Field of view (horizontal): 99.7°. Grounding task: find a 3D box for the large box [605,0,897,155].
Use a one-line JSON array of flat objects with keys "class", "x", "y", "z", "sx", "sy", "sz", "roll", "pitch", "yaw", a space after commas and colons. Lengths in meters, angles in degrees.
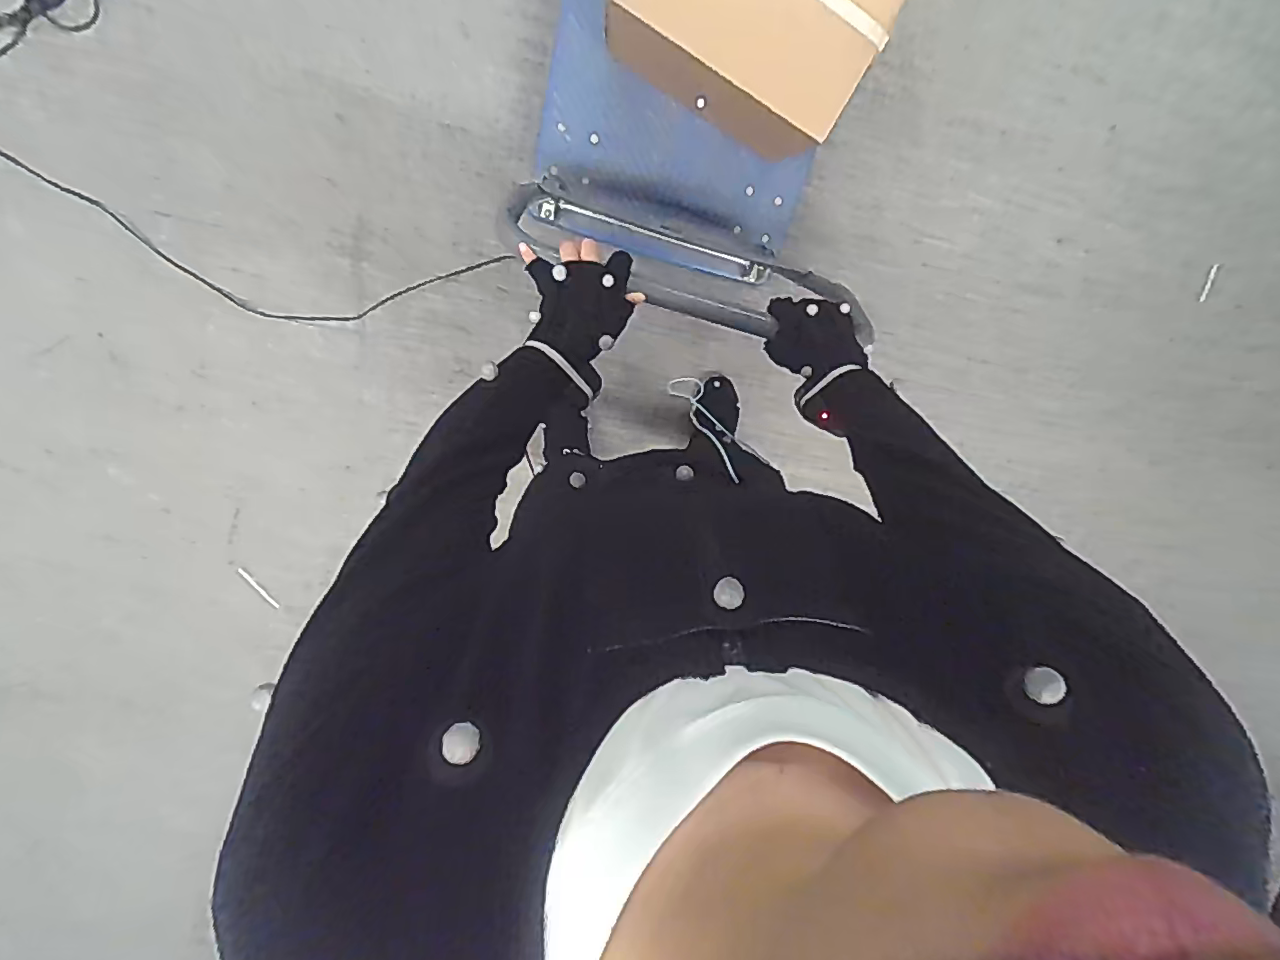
[{"class": "large box", "x": 0.186, "y": -0.828, "z": 0.932, "sx": 0.408, "sy": 0.320, "sz": 0.320, "roll": 24, "pitch": 112, "yaw": -14}]
